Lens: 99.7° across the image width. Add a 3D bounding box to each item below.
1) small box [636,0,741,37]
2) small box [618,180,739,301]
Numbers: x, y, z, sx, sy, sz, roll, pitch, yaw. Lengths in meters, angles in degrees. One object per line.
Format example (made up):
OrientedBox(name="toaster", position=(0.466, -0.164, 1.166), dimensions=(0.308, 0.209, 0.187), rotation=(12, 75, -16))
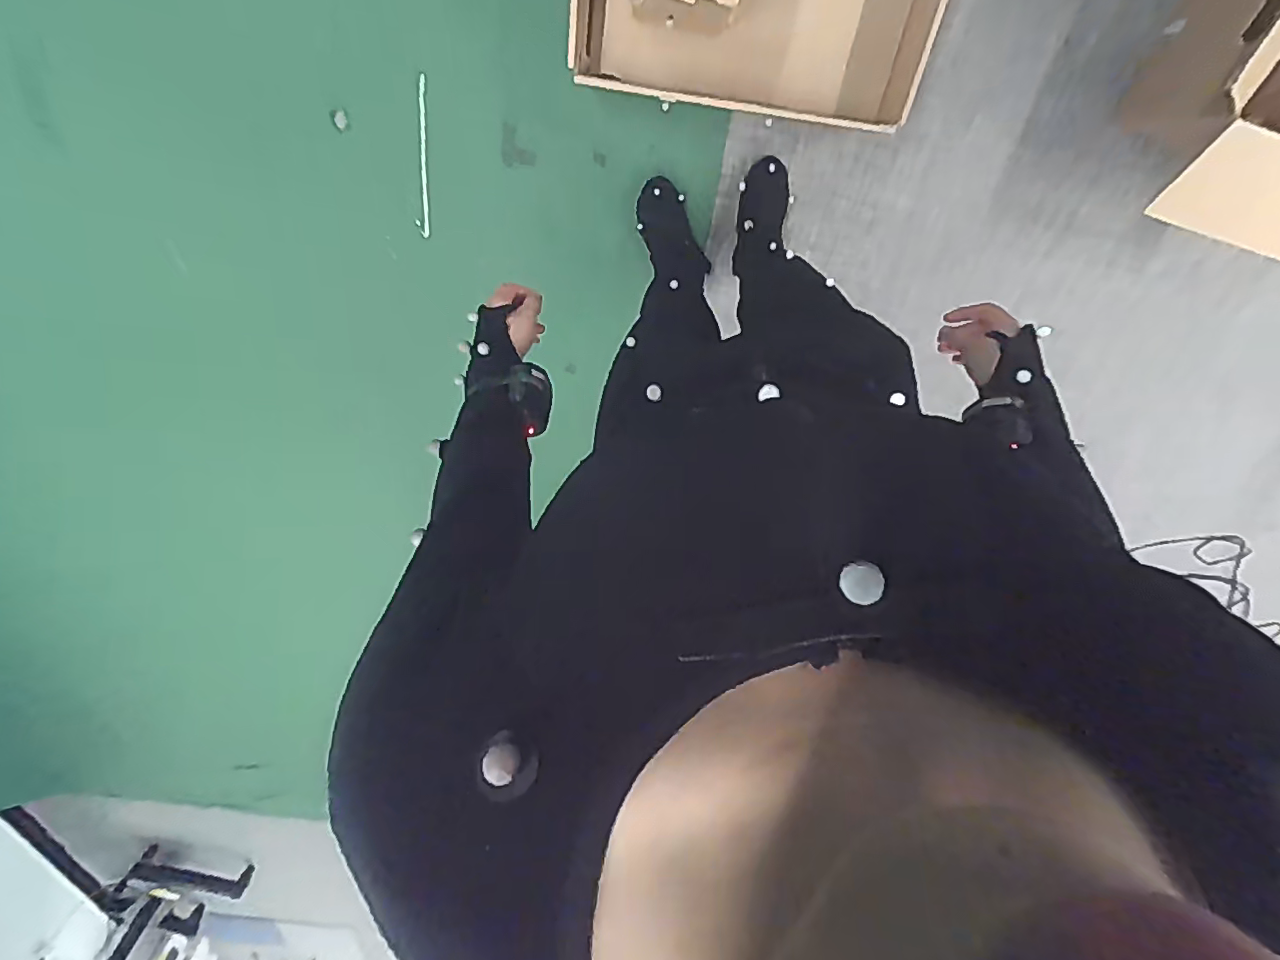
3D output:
OrientedBox(name="small box", position=(0.090, -0.876, 0.912), dimensions=(0.179, 0.176, 0.168), rotation=(8, 122, -4))
OrientedBox(name="small box", position=(0.090, -0.522, 1.182), dimensions=(0.176, 0.168, 0.179), rotation=(17, 103, -44))
